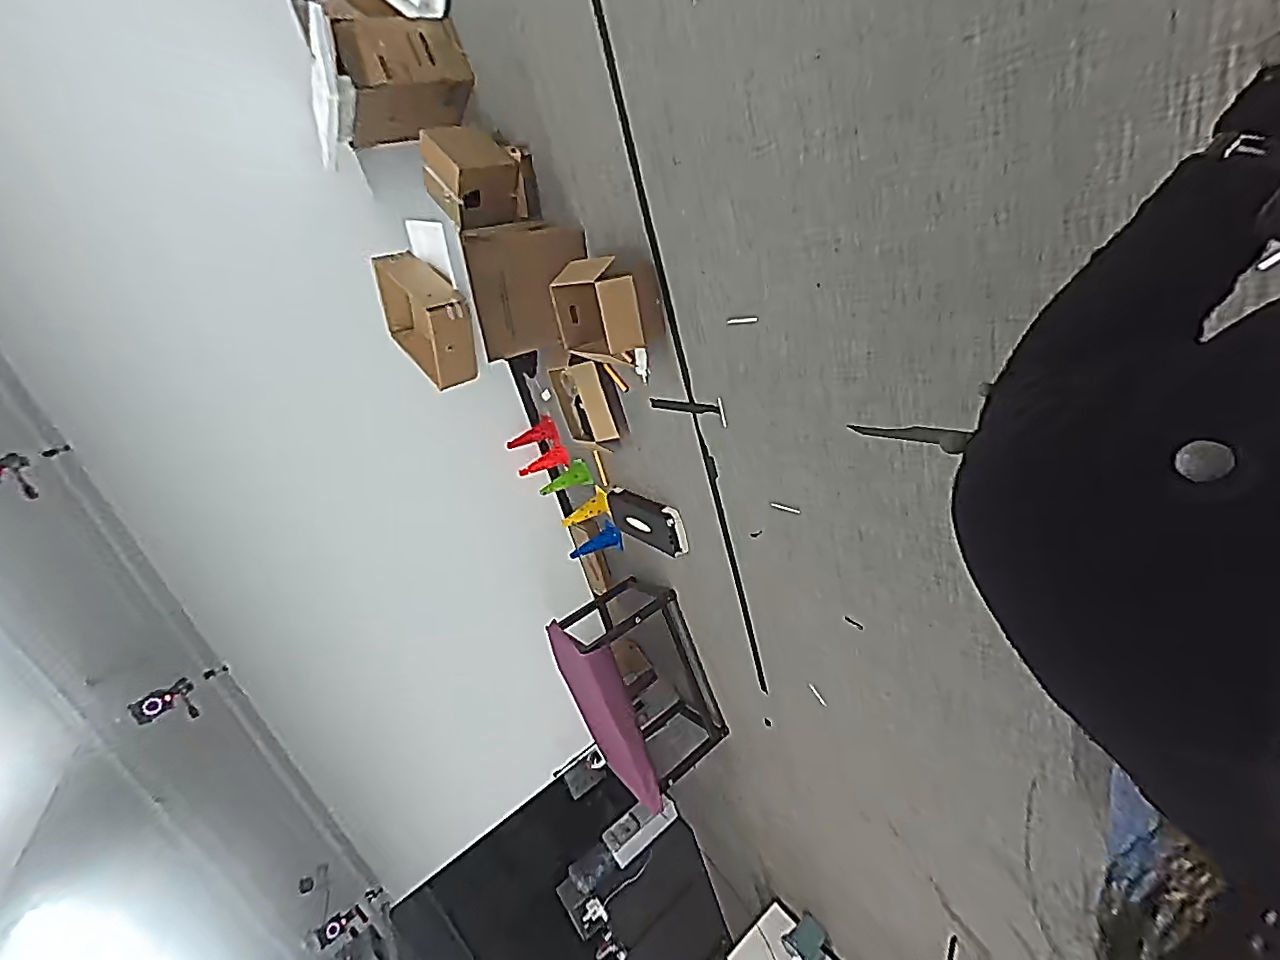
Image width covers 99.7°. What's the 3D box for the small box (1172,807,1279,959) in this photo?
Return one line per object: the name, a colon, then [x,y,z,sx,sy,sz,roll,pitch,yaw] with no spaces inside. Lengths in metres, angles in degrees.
small box: [1.330,0.884,1.198,0.168,0.176,0.179,19,131,52]
